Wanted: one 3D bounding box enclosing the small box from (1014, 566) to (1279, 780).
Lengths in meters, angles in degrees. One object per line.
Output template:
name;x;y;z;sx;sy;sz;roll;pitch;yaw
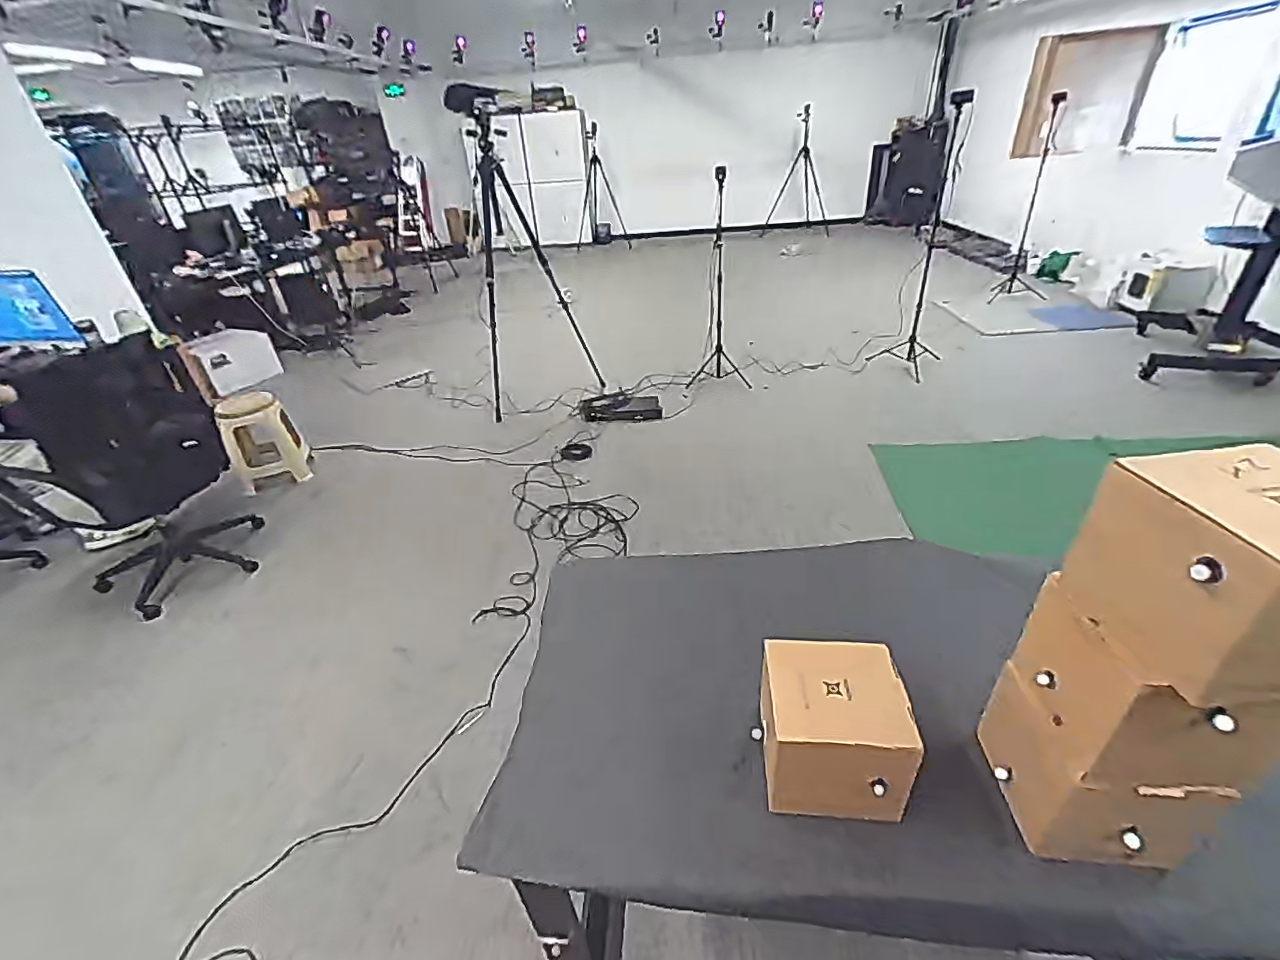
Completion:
small box;0.571;0.214;0.610;0.179;0.176;0.168;-3;31;7

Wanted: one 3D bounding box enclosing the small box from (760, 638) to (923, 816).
small box;0.266;0.345;0.761;0.179;0.176;0.168;-2;31;8

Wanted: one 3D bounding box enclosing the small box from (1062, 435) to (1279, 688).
small box;0.563;0.078;0.516;0.168;0.176;0.179;-6;31;-1

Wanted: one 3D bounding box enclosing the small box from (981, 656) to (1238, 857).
small box;0.575;0.352;0.697;0.168;0.176;0.179;-1;32;8
